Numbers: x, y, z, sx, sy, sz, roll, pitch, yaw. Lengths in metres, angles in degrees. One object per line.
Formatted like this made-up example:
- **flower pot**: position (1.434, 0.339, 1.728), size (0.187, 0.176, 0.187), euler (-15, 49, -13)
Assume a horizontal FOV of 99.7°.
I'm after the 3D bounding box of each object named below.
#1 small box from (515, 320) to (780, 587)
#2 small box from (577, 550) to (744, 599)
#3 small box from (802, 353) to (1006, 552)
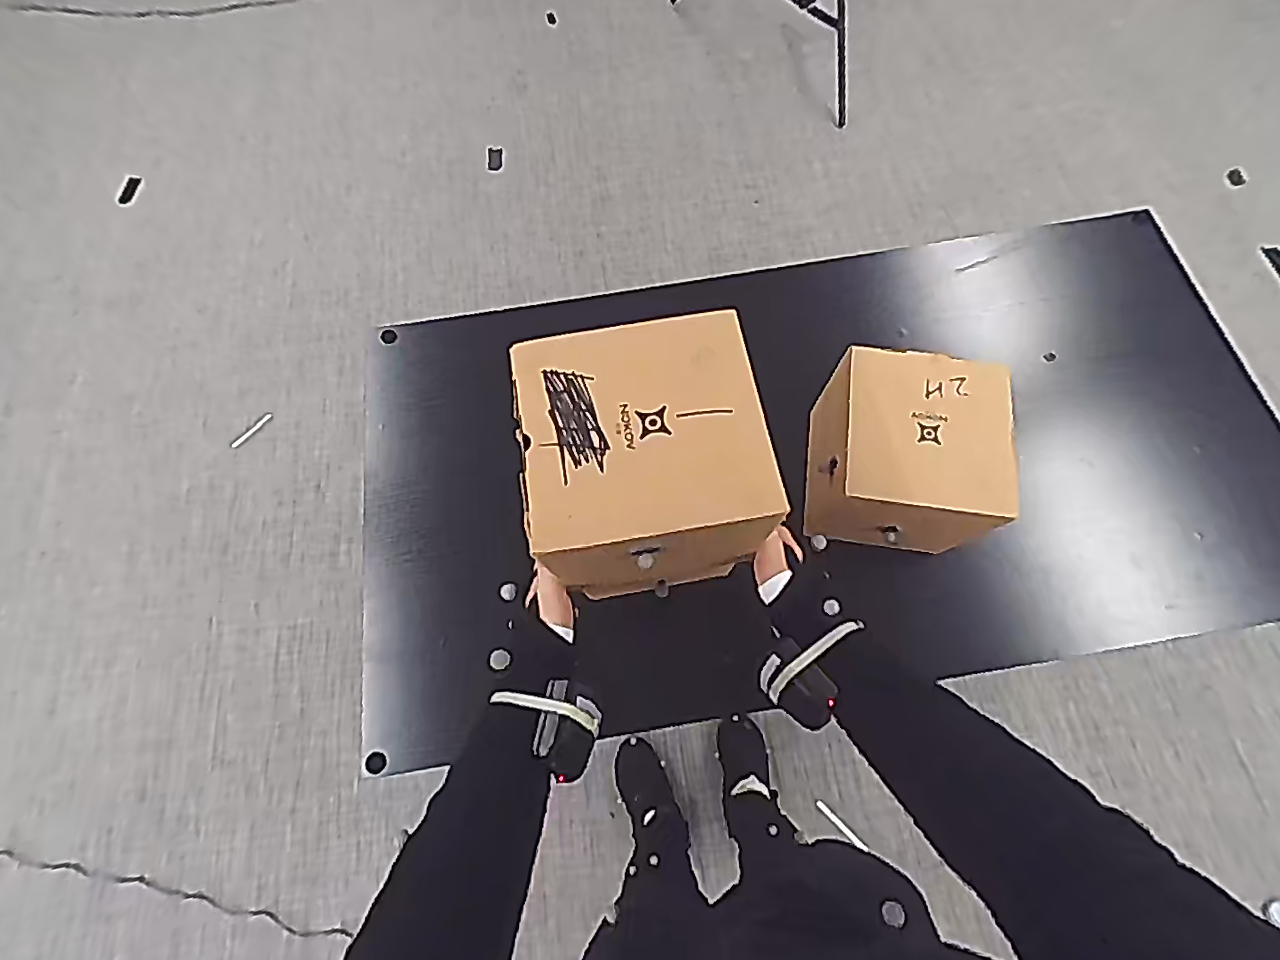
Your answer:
- **small box**: position (0.003, -0.009, 0.469), size (0.179, 0.176, 0.168), euler (-9, 71, -2)
- **small box**: position (0.006, 0.035, 0.629), size (0.179, 0.176, 0.168), euler (-10, 70, -2)
- **small box**: position (0.295, -0.022, 0.637), size (0.168, 0.176, 0.179), euler (8, 71, 5)
